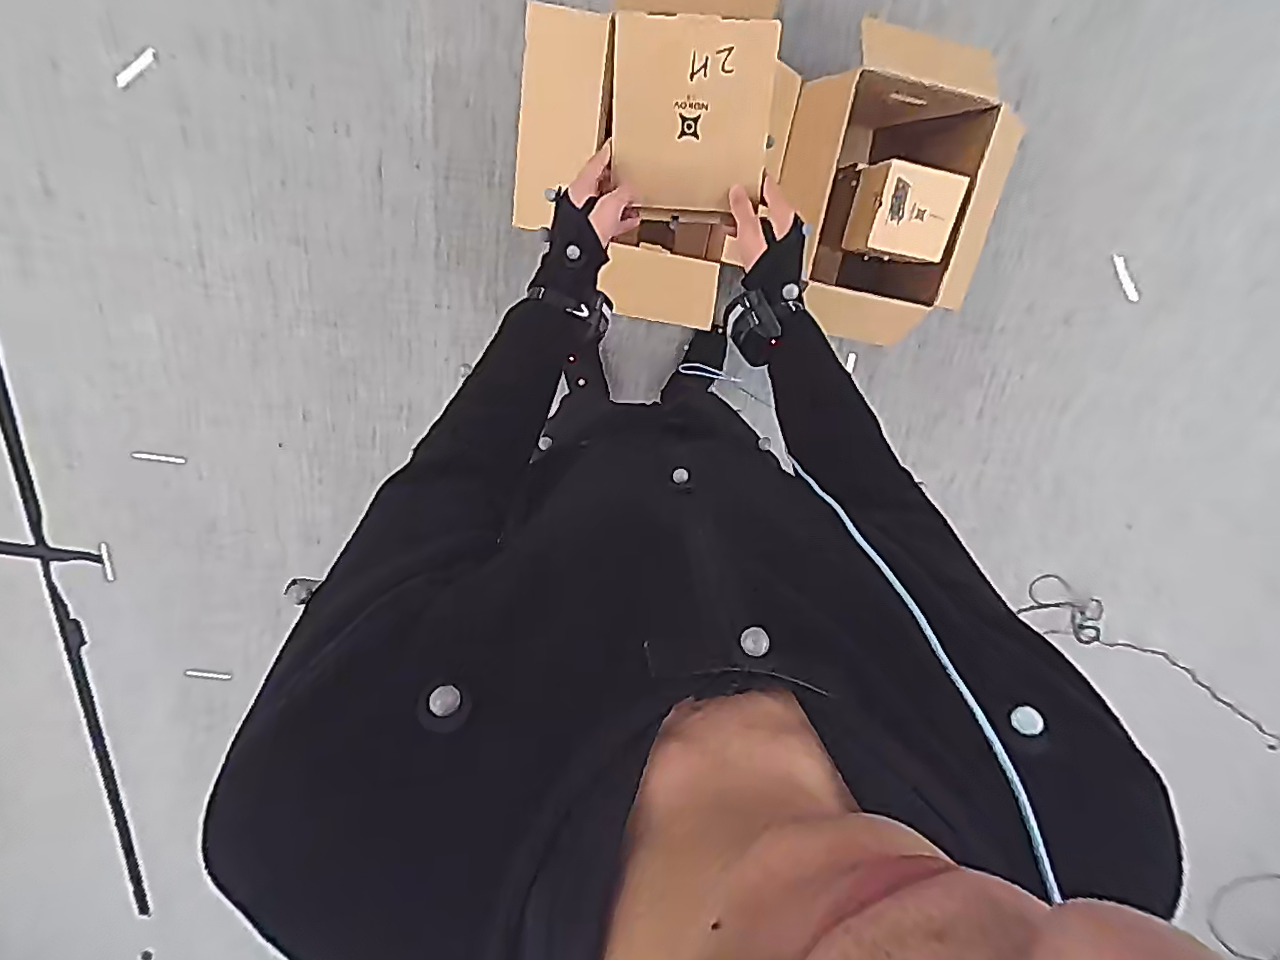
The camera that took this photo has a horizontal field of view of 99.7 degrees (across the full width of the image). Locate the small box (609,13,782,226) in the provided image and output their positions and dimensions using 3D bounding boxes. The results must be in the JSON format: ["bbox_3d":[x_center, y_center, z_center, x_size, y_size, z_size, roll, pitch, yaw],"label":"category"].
[{"bbox_3d":[0.054,-0.400,0.633,0.168,0.176,0.179,3,112,-1],"label":"small box"}]
